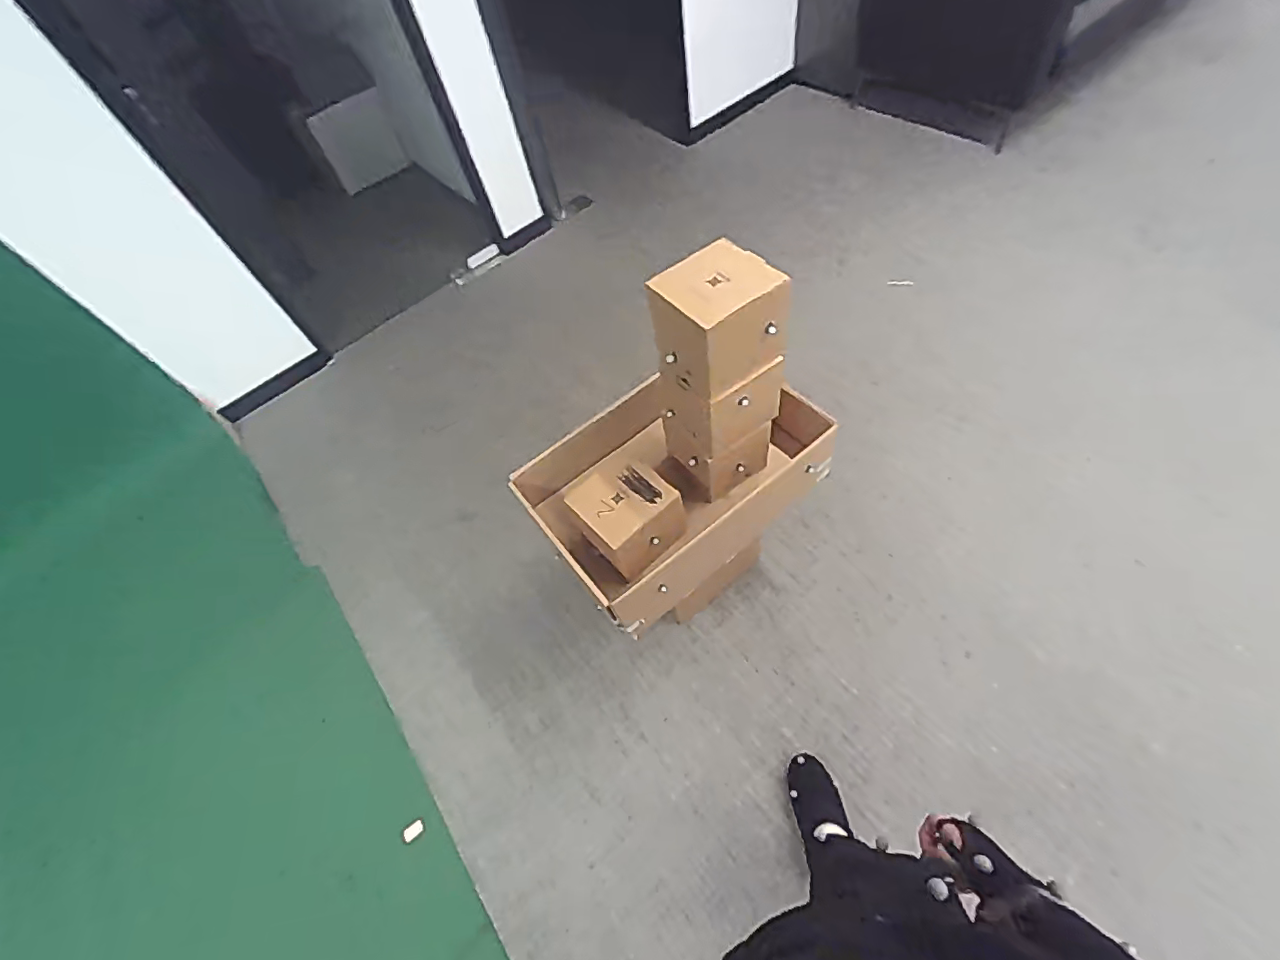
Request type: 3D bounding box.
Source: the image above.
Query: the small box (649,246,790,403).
[{"bbox_3d":[0.138,-0.271,0.956,0.179,0.176,0.168,-34,56,-12],"label":"small box"}]

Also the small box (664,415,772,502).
[{"bbox_3d":[0.177,-0.074,1.214,0.168,0.176,0.179,-32,56,-12],"label":"small box"}]

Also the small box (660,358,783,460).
[{"bbox_3d":[0.164,-0.172,1.082,0.179,0.176,0.168,-33,57,-13],"label":"small box"}]
